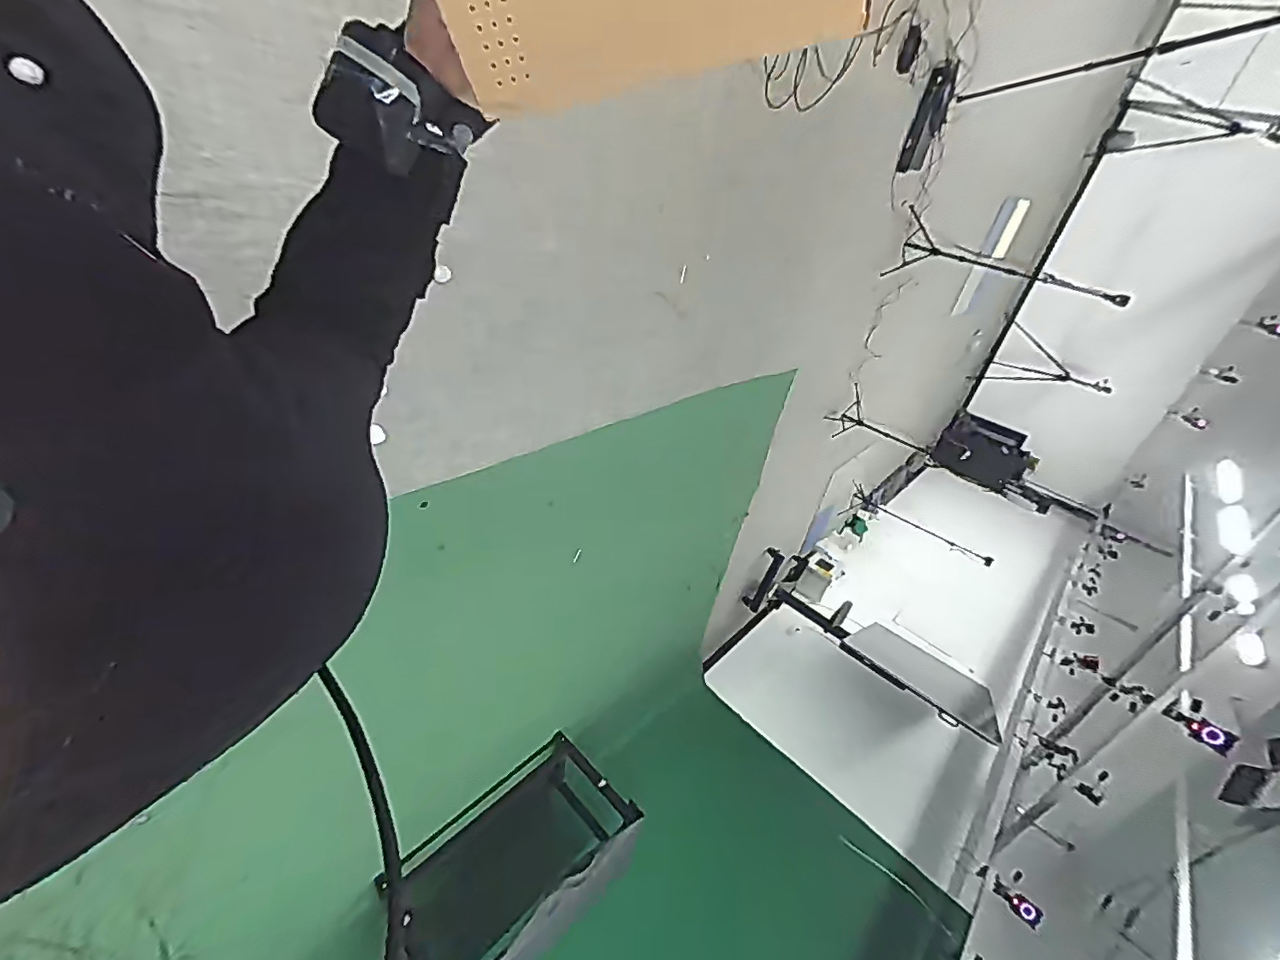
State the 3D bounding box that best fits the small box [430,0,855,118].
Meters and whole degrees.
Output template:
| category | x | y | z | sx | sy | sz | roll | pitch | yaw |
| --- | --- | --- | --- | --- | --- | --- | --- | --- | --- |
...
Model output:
| category | x | y | z | sx | sy | sz | roll | pitch | yaw |
| --- | --- | --- | --- | --- | --- | --- | --- | --- | --- |
| small box | -0.012 | -0.287 | 0.213 | 0.179 | 0.176 | 0.168 | 66 | 23 | -55 |
